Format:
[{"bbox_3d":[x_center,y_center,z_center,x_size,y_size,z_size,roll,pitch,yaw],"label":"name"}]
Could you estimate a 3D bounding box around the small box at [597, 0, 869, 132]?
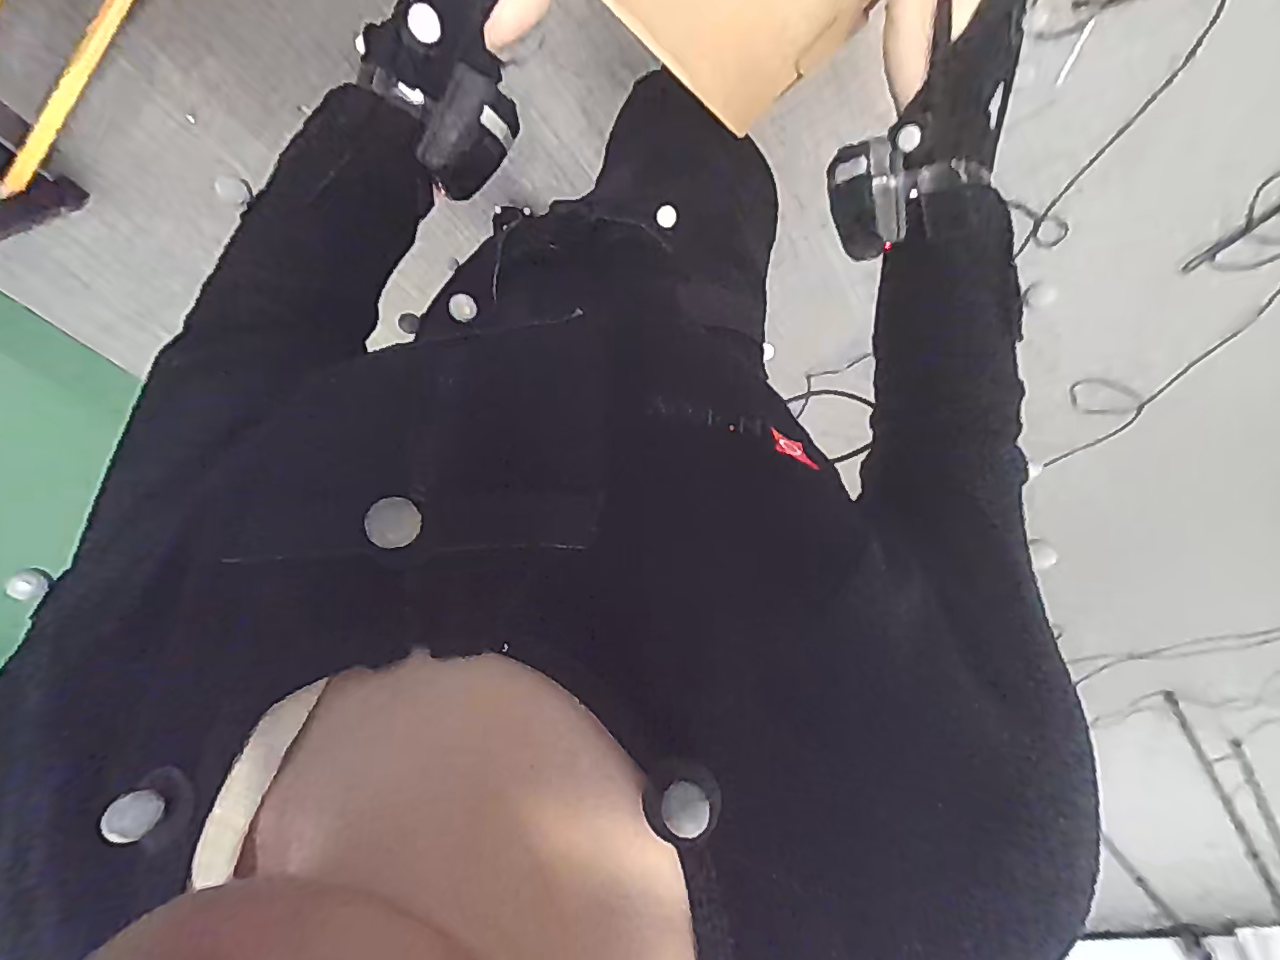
[{"bbox_3d":[0.068,-0.386,0.343,0.179,0.176,0.168,27,149,-28],"label":"small box"}]
